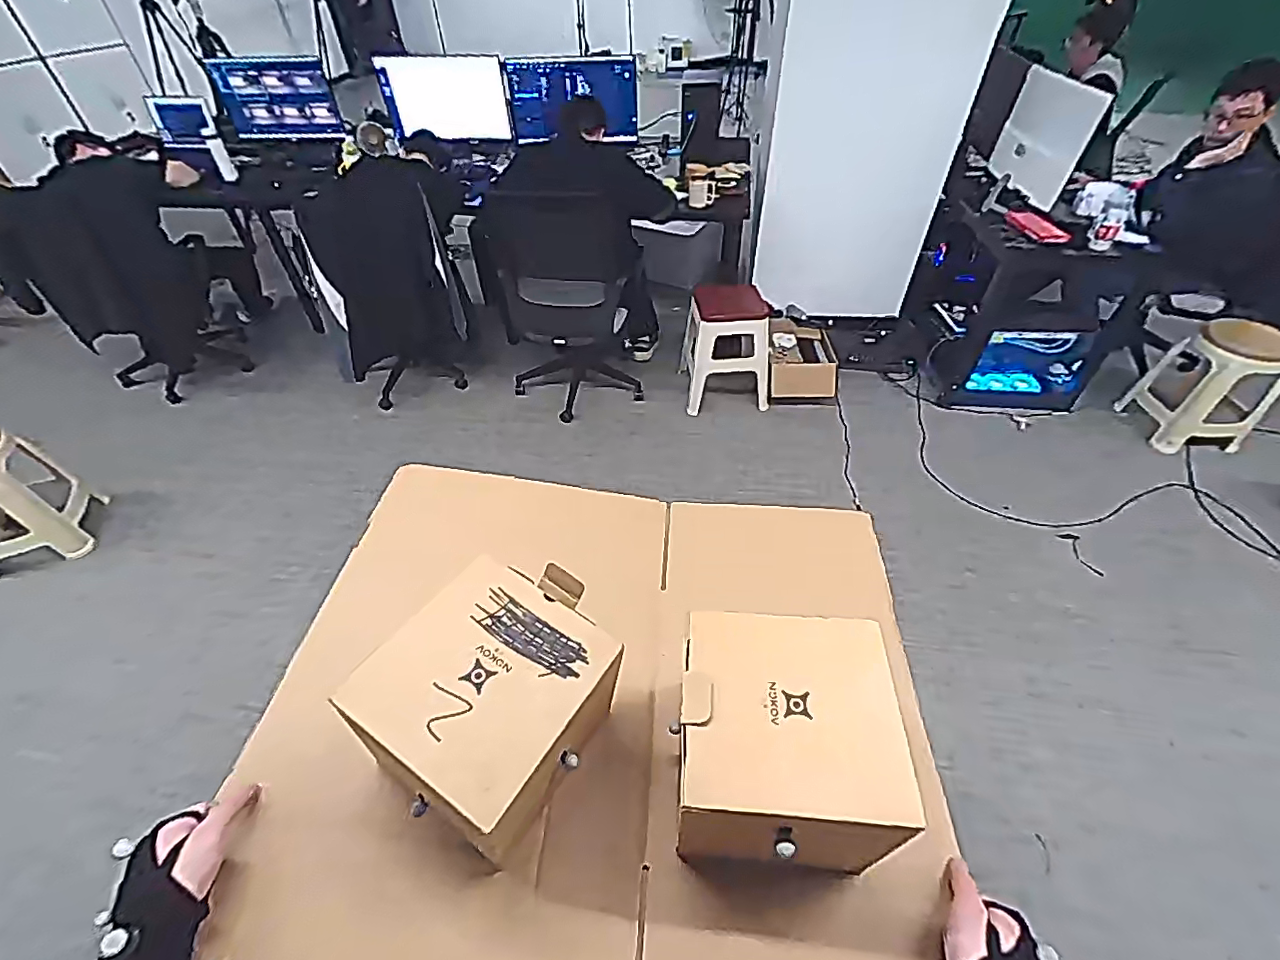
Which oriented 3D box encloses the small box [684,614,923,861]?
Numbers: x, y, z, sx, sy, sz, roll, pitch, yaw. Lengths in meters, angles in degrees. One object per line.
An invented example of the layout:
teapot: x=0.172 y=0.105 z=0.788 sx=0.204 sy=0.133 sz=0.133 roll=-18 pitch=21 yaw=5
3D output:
small box: x=0.133 y=0.246 z=0.515 sx=0.179 sy=0.176 sz=0.168 roll=2 pitch=46 yaw=5
